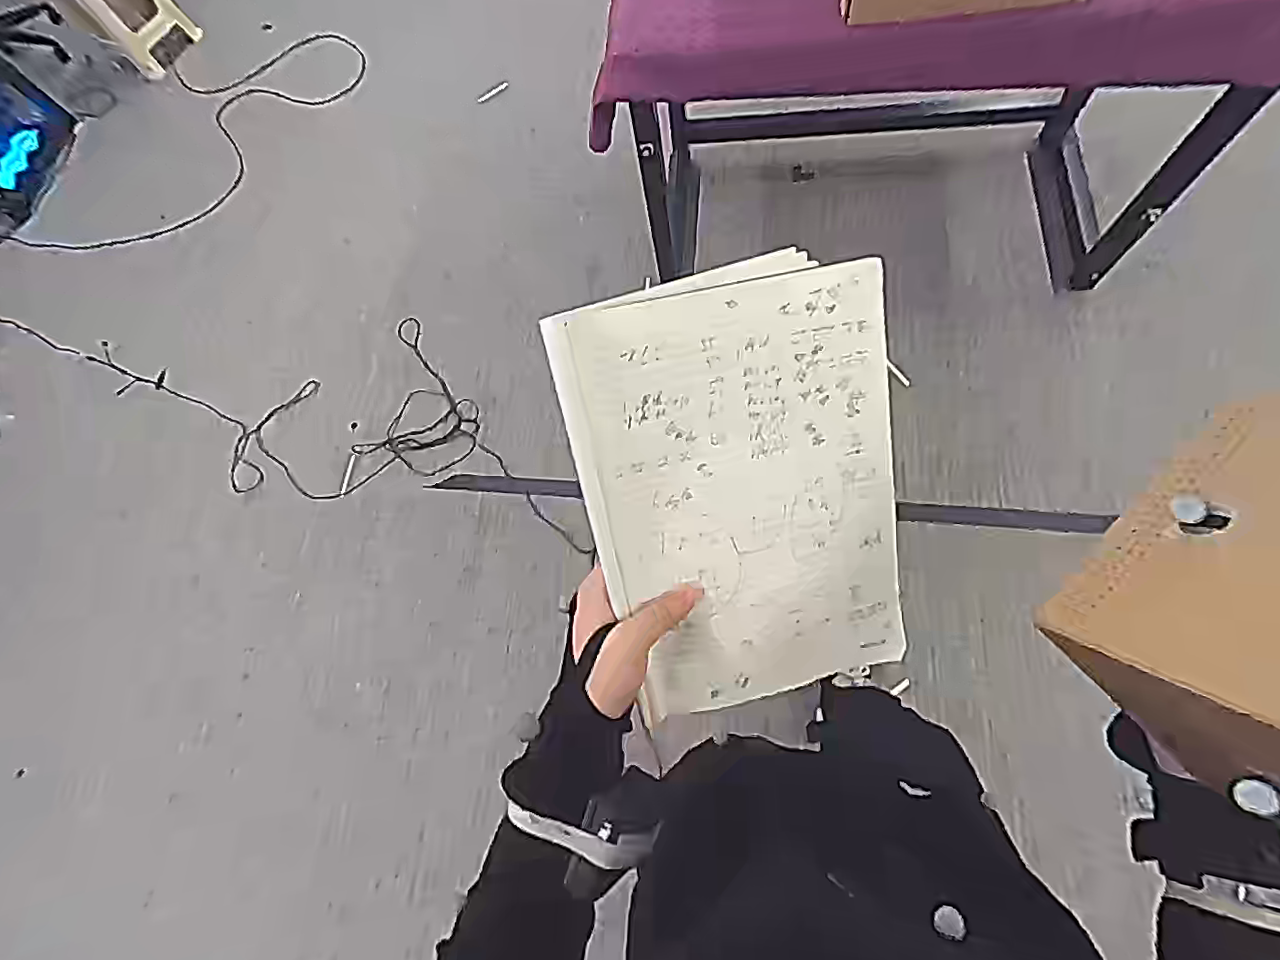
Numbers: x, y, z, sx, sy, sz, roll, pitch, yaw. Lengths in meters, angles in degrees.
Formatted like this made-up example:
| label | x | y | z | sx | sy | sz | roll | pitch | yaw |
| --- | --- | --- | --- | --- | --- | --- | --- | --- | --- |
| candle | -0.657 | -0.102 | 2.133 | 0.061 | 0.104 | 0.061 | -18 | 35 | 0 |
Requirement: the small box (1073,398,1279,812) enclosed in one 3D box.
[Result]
| label | x | y | z | sx | sy | sz | roll | pitch | yaw |
| --- | --- | --- | --- | --- | --- | --- | --- | --- | --- |
| small box | 0.354 | 0.074 | 0.243 | 0.168 | 0.176 | 0.179 | 41 | 91 | -7 |
